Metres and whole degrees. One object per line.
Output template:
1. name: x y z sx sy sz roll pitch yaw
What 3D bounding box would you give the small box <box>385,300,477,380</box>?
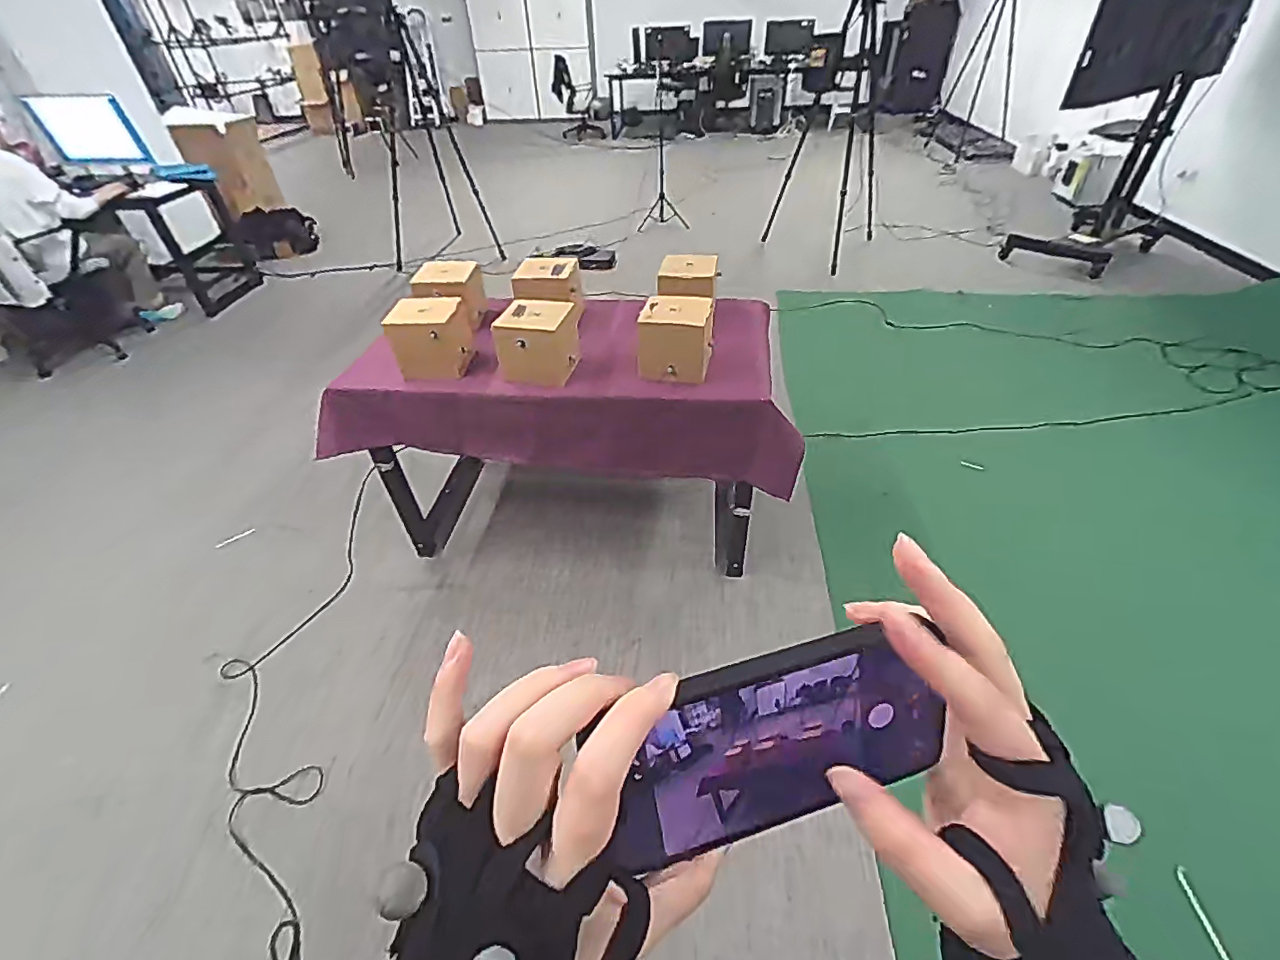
1. small box: -0.577 -0.393 1.520 0.179 0.176 0.168 0 41 1

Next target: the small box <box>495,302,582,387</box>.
1. small box: -0.268 -0.368 1.473 0.179 0.176 0.168 8 42 10

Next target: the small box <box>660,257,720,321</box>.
1. small box: 0.155 -0.579 1.687 0.168 0.176 0.179 5 43 10

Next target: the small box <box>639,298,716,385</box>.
1. small box: 0.102 -0.372 1.457 0.179 0.176 0.168 8 42 11
